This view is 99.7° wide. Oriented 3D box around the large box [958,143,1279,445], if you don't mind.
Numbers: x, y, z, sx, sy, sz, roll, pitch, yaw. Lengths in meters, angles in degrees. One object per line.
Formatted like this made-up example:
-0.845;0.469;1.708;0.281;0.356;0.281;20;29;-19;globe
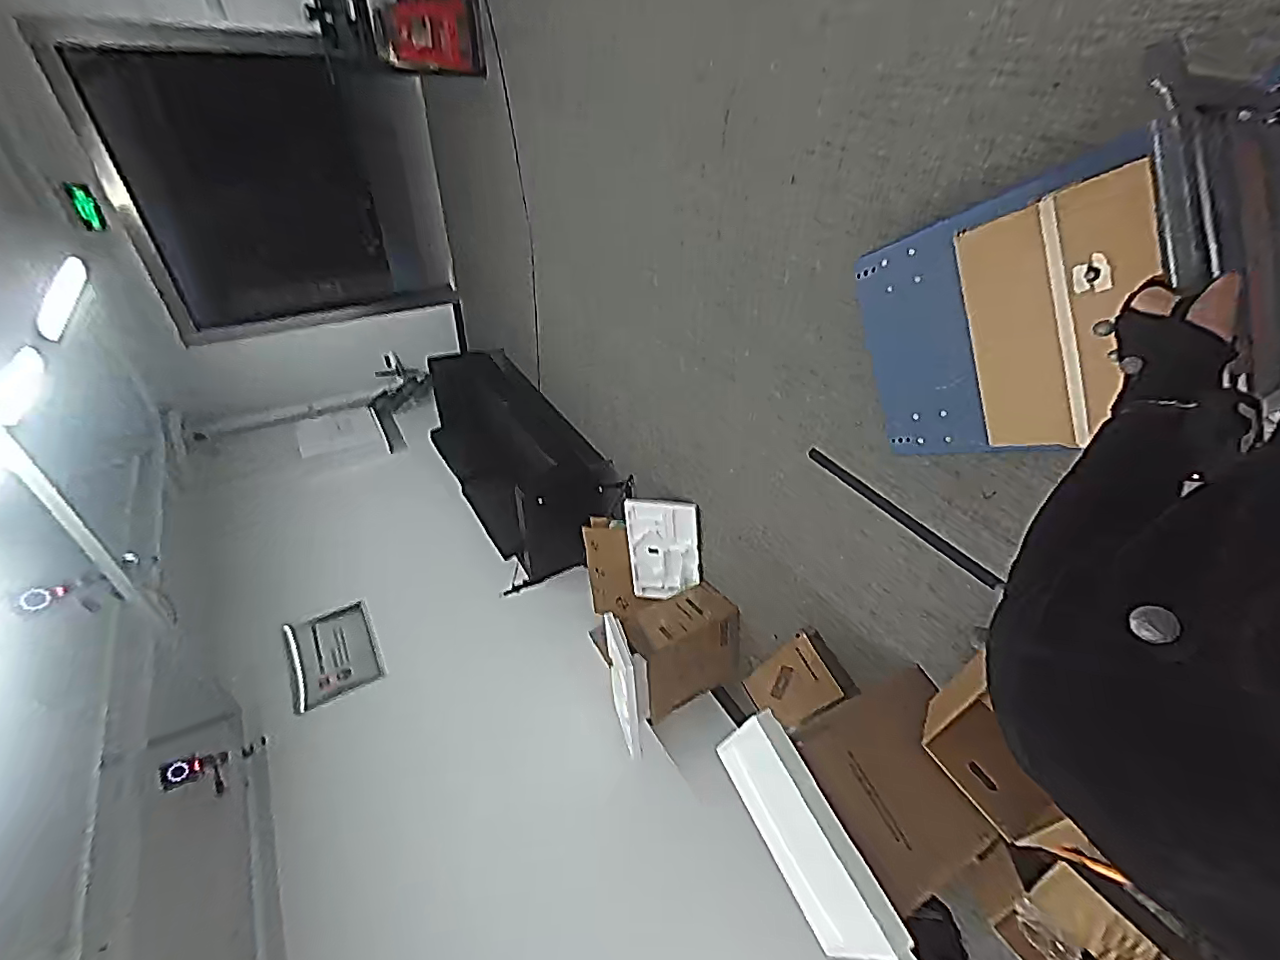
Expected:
0.828;-0.298;0.939;0.320;0.320;0.408;0;106;63;large box
